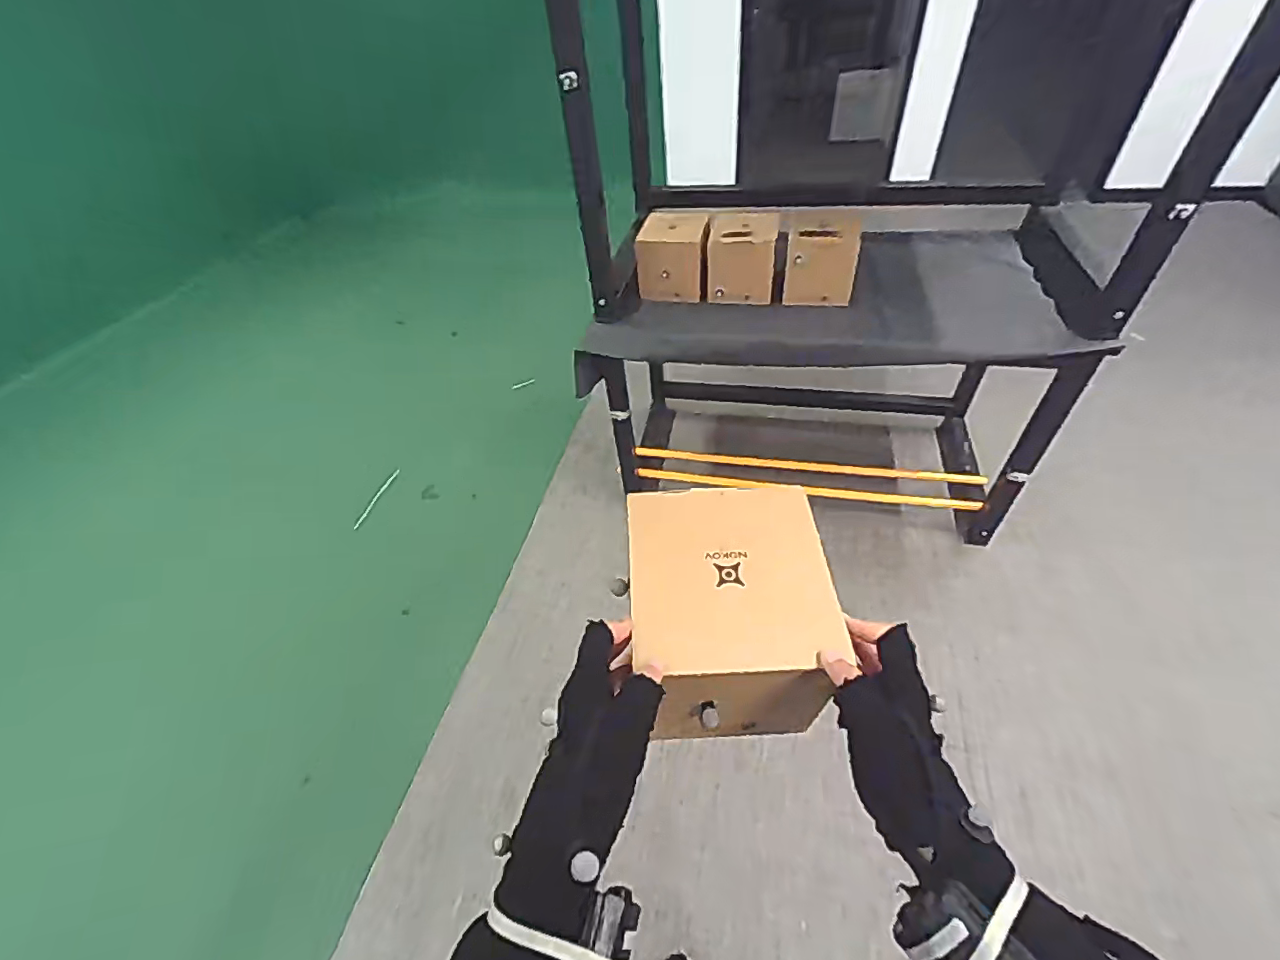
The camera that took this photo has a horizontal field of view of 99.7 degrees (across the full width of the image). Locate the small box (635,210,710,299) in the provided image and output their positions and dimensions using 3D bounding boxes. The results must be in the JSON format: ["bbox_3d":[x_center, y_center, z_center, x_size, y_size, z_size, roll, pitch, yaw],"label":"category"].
[{"bbox_3d":[0.094,-0.606,1.454,0.168,0.176,0.179,8,48,13],"label":"small box"}]
